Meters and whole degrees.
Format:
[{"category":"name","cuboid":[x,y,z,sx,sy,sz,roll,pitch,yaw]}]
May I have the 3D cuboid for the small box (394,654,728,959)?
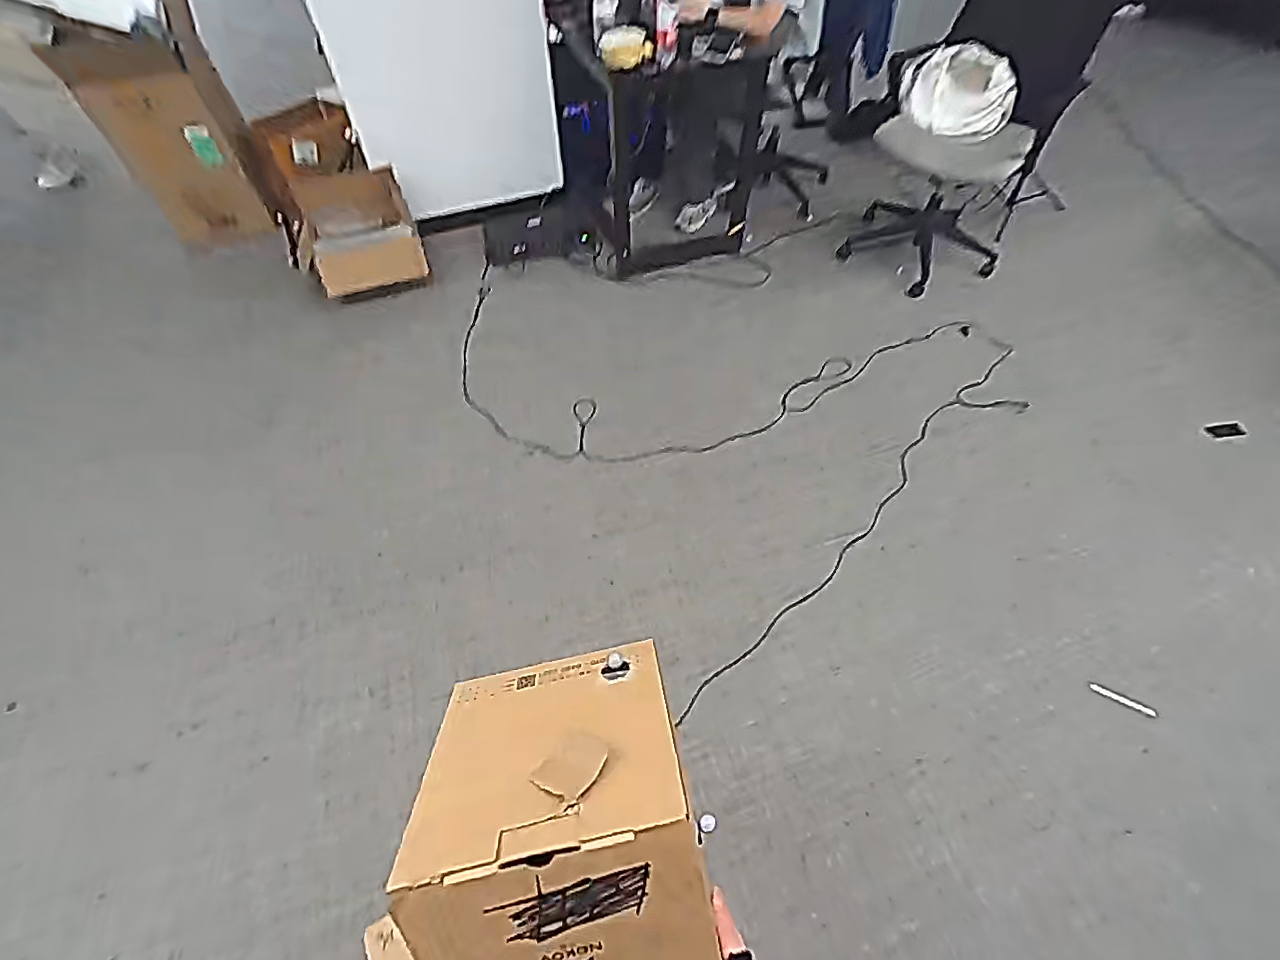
[{"category":"small box","cuboid":[-0.042,0.245,0.383,0.168,0.179,0.176,-12,19,-1]}]
